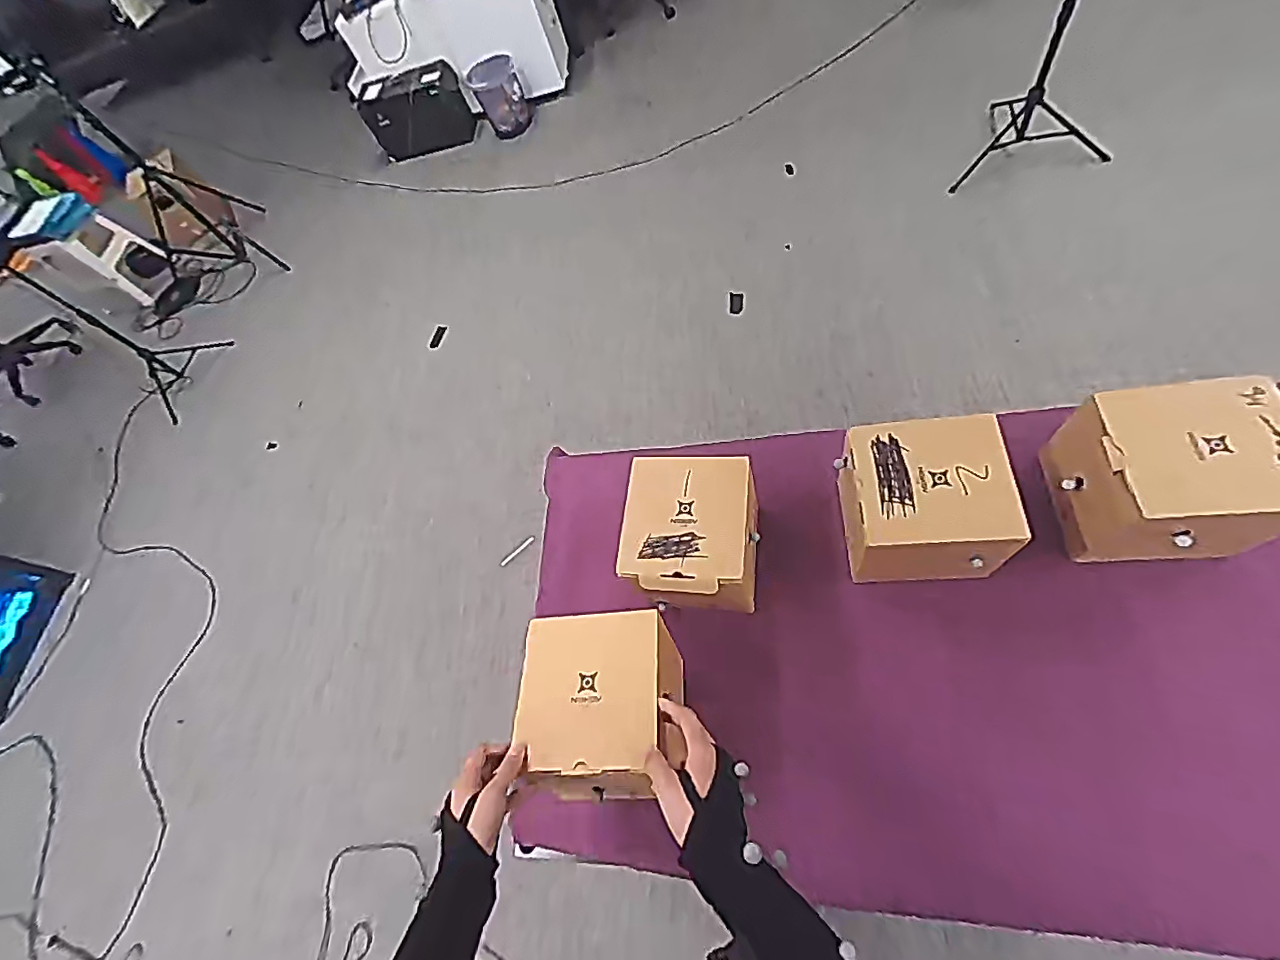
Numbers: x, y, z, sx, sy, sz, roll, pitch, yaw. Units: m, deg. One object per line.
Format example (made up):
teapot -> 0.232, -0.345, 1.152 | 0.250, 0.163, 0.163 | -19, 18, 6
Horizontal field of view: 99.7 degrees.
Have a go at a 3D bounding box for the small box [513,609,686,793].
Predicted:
small box -> -0.037, 0.276, 0.669 | 0.168, 0.176, 0.179 | -7, 54, 11

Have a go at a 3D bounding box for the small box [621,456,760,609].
small box -> 0.083, 0.080, 0.778 | 0.168, 0.176, 0.179 | 1, 64, 16
